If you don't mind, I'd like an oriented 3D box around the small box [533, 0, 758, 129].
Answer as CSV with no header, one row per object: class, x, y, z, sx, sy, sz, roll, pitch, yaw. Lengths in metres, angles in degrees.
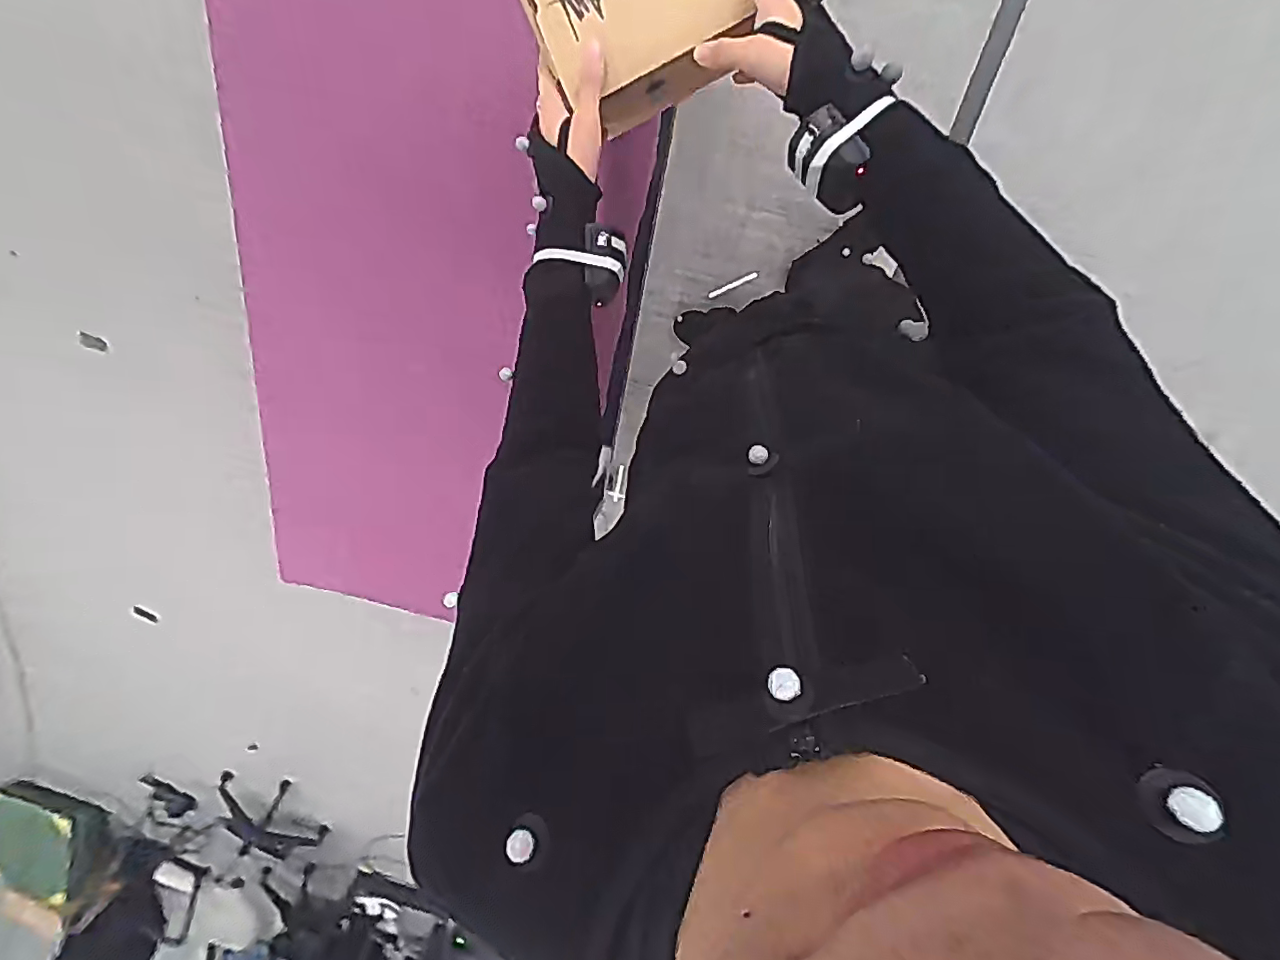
small box,0.001,-0.463,0.508,0.179,0.176,0.168,-19,112,16
